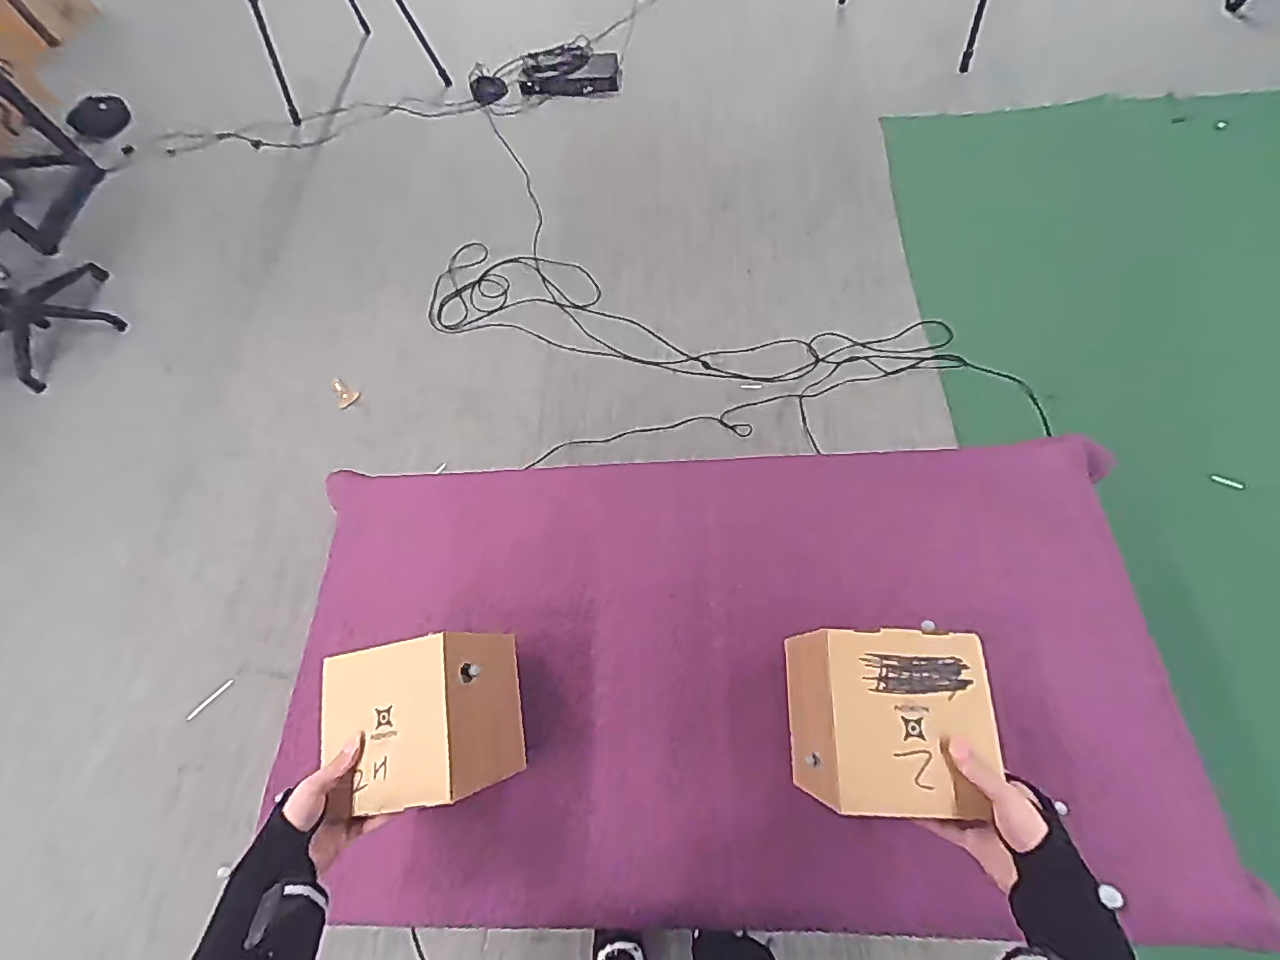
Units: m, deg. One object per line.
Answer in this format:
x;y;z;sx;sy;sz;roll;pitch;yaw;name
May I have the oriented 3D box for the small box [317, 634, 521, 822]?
-0.265;0.298;0.675;0.168;0.176;0.179;-15;69;13;small box
